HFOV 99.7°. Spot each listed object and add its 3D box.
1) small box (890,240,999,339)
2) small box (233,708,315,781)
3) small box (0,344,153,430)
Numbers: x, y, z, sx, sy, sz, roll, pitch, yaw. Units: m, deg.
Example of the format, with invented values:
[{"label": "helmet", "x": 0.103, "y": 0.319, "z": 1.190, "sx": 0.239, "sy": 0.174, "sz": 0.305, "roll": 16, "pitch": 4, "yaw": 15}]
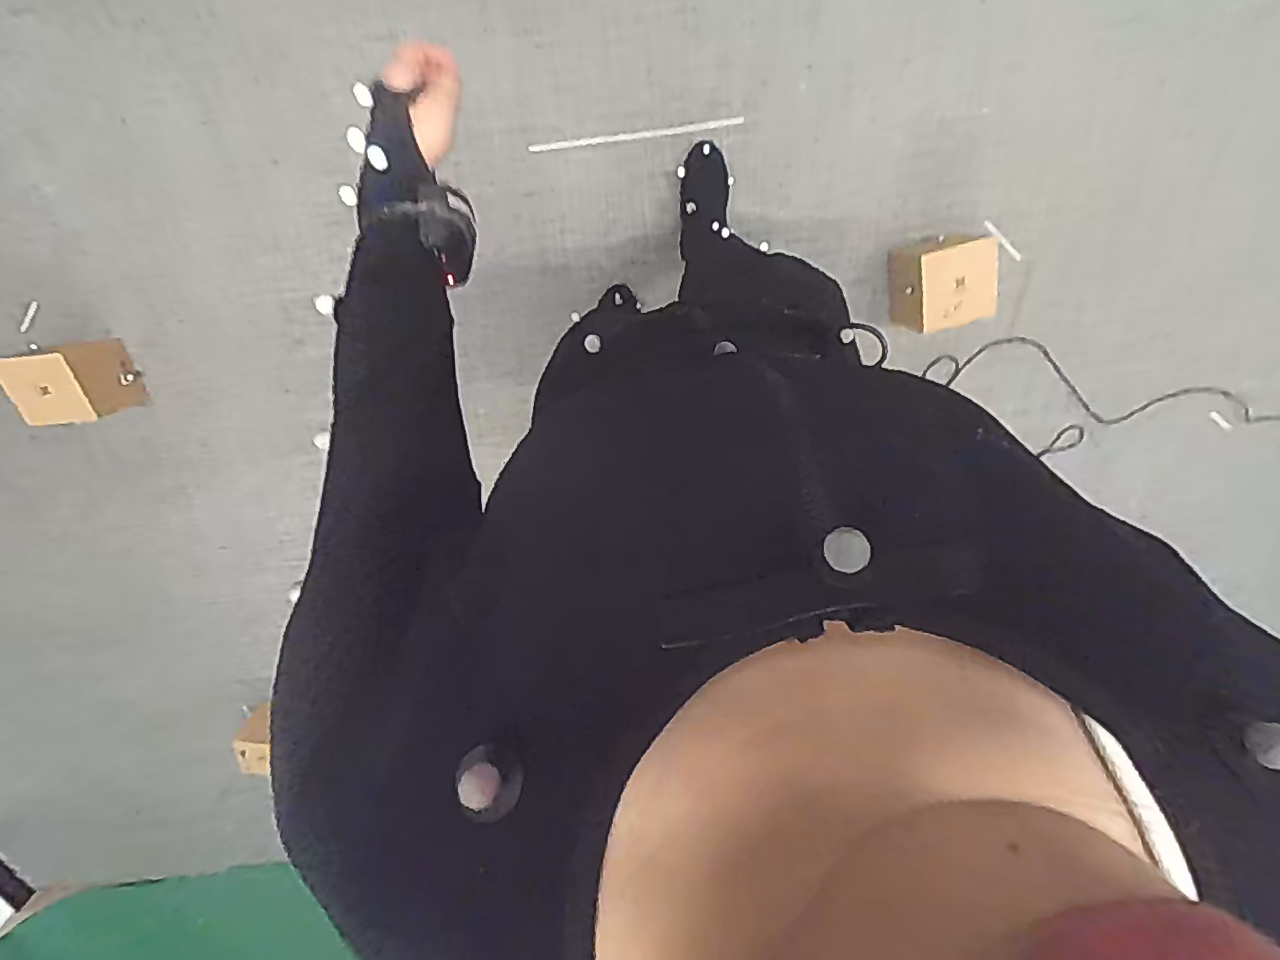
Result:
[{"label": "small box", "x": 0.702, "y": -0.448, "z": 1.262, "sx": 0.168, "sy": 0.176, "sz": 0.179, "roll": -14, "pitch": 115, "yaw": 6}, {"label": "small box", "x": -1.265, "y": 0.921, "z": 1.890, "sx": 0.179, "sy": 0.176, "sz": 0.168, "roll": 5, "pitch": 115, "yaw": -4}, {"label": "small box", "x": -1.395, "y": -0.236, "z": 1.350, "sx": 0.179, "sy": 0.176, "sz": 0.168, "roll": -6, "pitch": 117, "yaw": 1}]
